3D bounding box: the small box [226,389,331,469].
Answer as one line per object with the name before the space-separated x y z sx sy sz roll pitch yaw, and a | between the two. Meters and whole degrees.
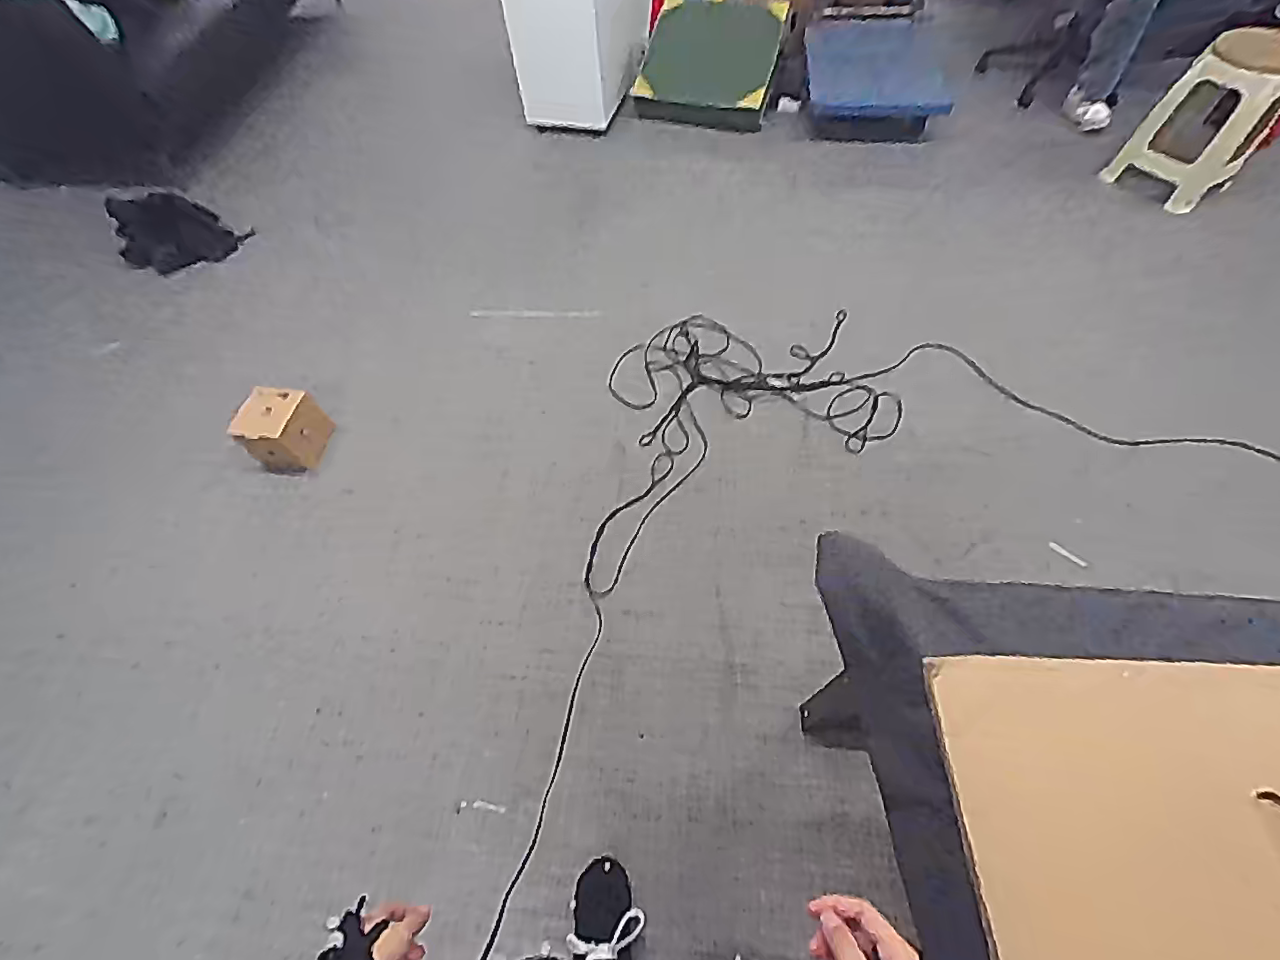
small box | -1.074 -0.150 1.627 0.168 0.176 0.179 6 60 6
